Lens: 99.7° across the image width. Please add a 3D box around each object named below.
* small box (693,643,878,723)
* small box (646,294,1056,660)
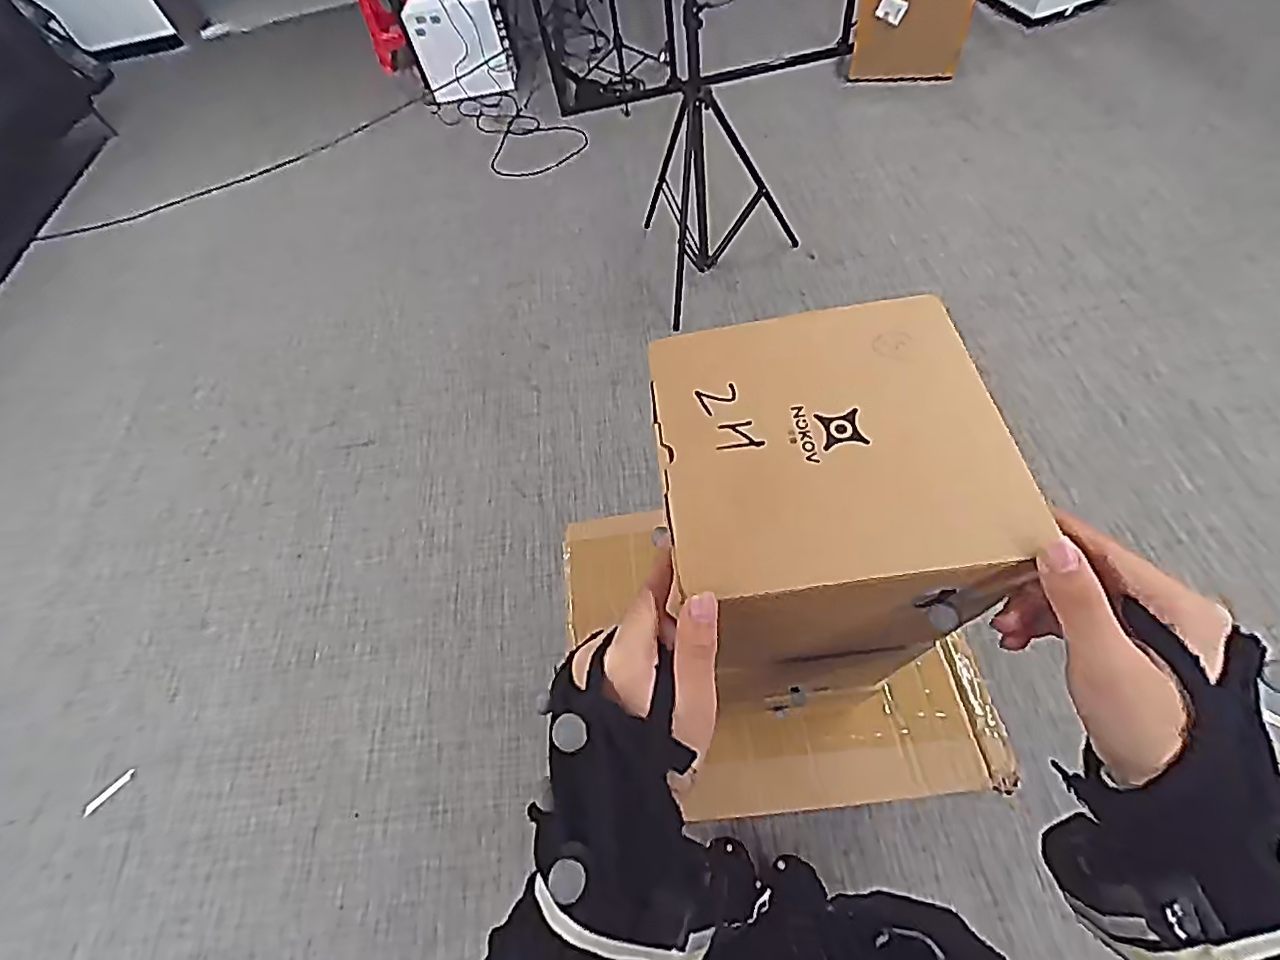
[{"bbox_3d":[0.150,0.180,0.632,0.179,0.176,0.168,-8,59,4],"label":"small box"},{"bbox_3d":[0.105,0.011,0.353,0.179,0.176,0.168,-8,60,4],"label":"small box"}]
